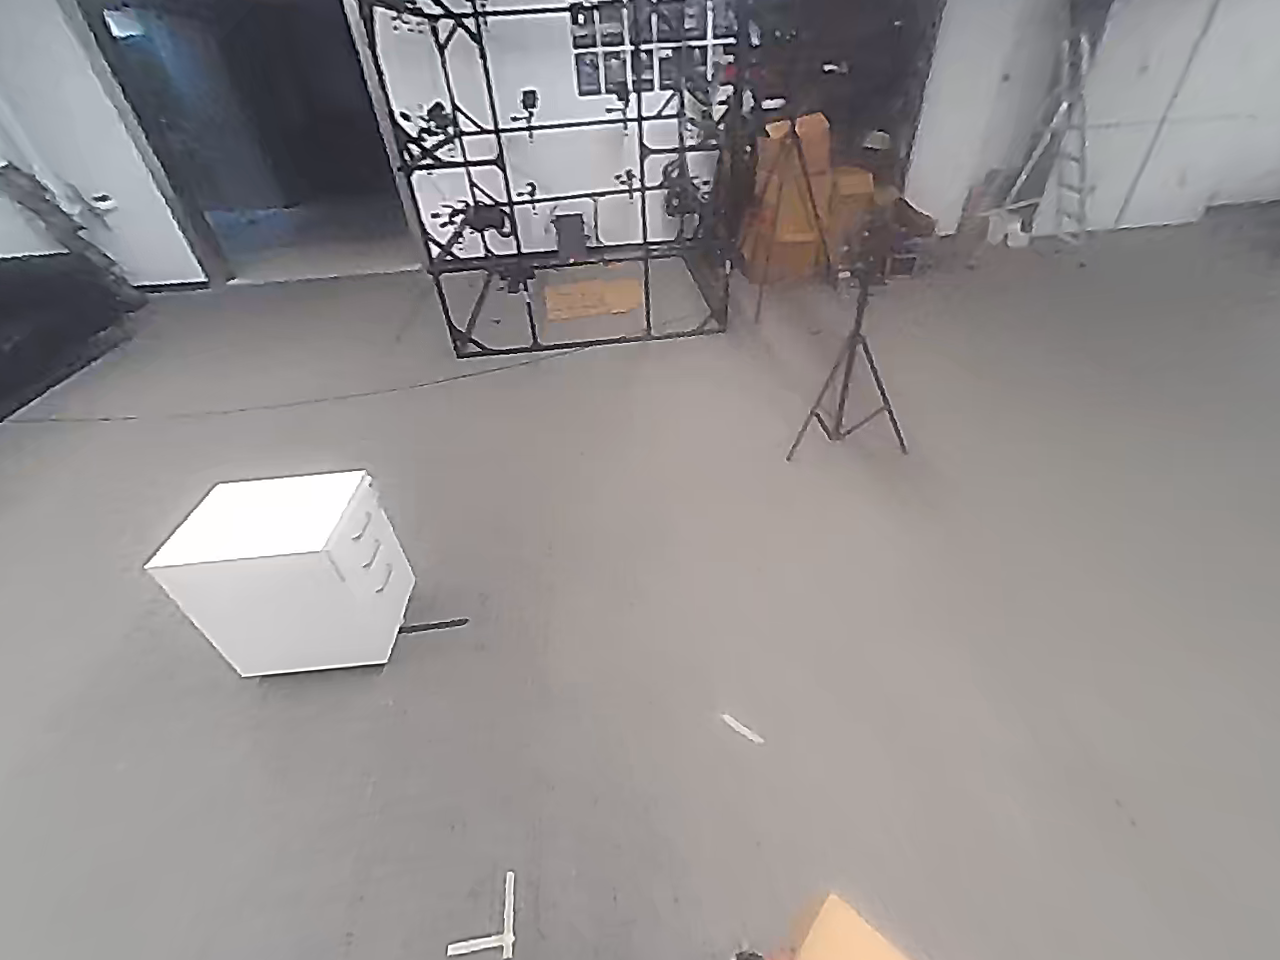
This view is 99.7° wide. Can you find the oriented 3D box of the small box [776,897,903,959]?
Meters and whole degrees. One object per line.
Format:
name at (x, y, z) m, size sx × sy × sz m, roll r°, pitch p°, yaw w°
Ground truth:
small box at (0.235, 0.638, 0.628) m, size 0.168 × 0.176 × 0.179 m, roll 31°, pitch 57°, yaw 28°
